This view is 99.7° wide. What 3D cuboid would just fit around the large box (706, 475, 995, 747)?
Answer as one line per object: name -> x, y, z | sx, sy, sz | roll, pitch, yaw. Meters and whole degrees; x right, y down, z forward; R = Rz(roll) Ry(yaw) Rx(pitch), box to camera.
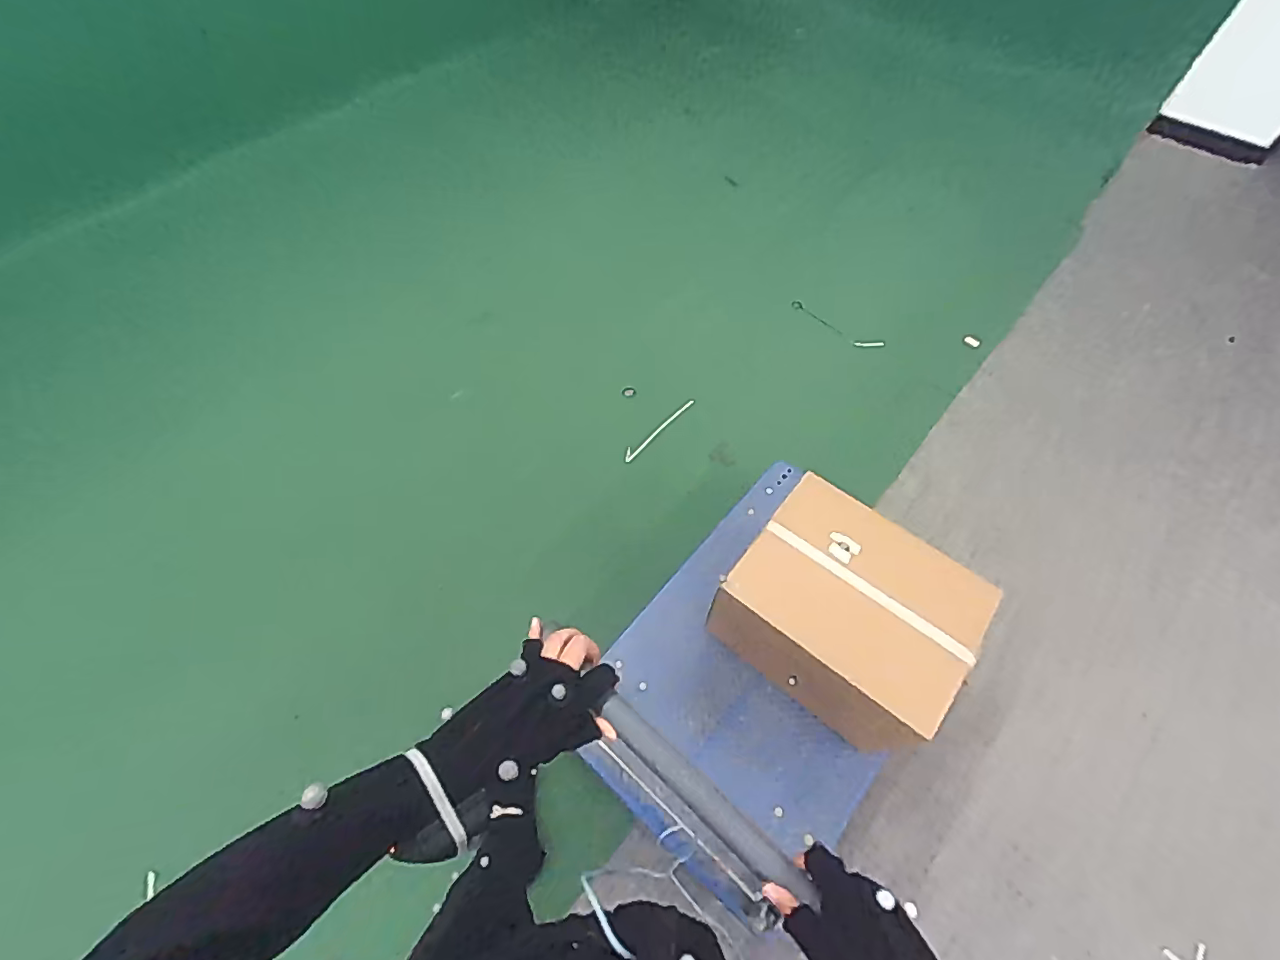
large box -> 0.388, 0.270, 1.095 | 0.408, 0.320, 0.320 | 36, 67, 20
